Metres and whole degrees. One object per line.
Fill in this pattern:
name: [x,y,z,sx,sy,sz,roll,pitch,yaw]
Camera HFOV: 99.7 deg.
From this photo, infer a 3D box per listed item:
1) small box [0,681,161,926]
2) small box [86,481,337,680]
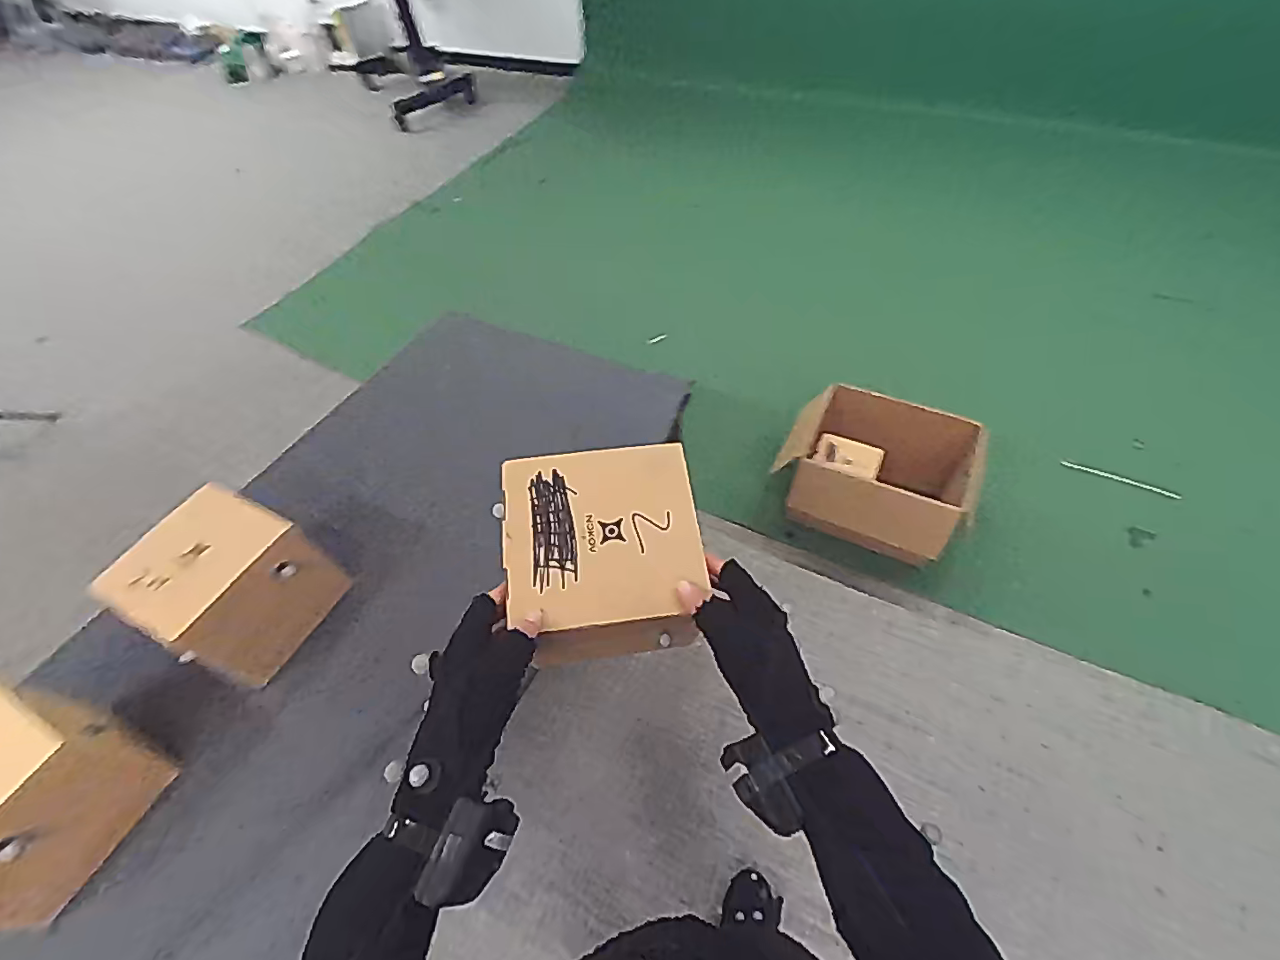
small box: [-0.689,0.349,0.592,0.168,0.176,0.179,20,59,17]
small box: [-0.550,0.138,0.728,0.168,0.176,0.179,20,59,18]
